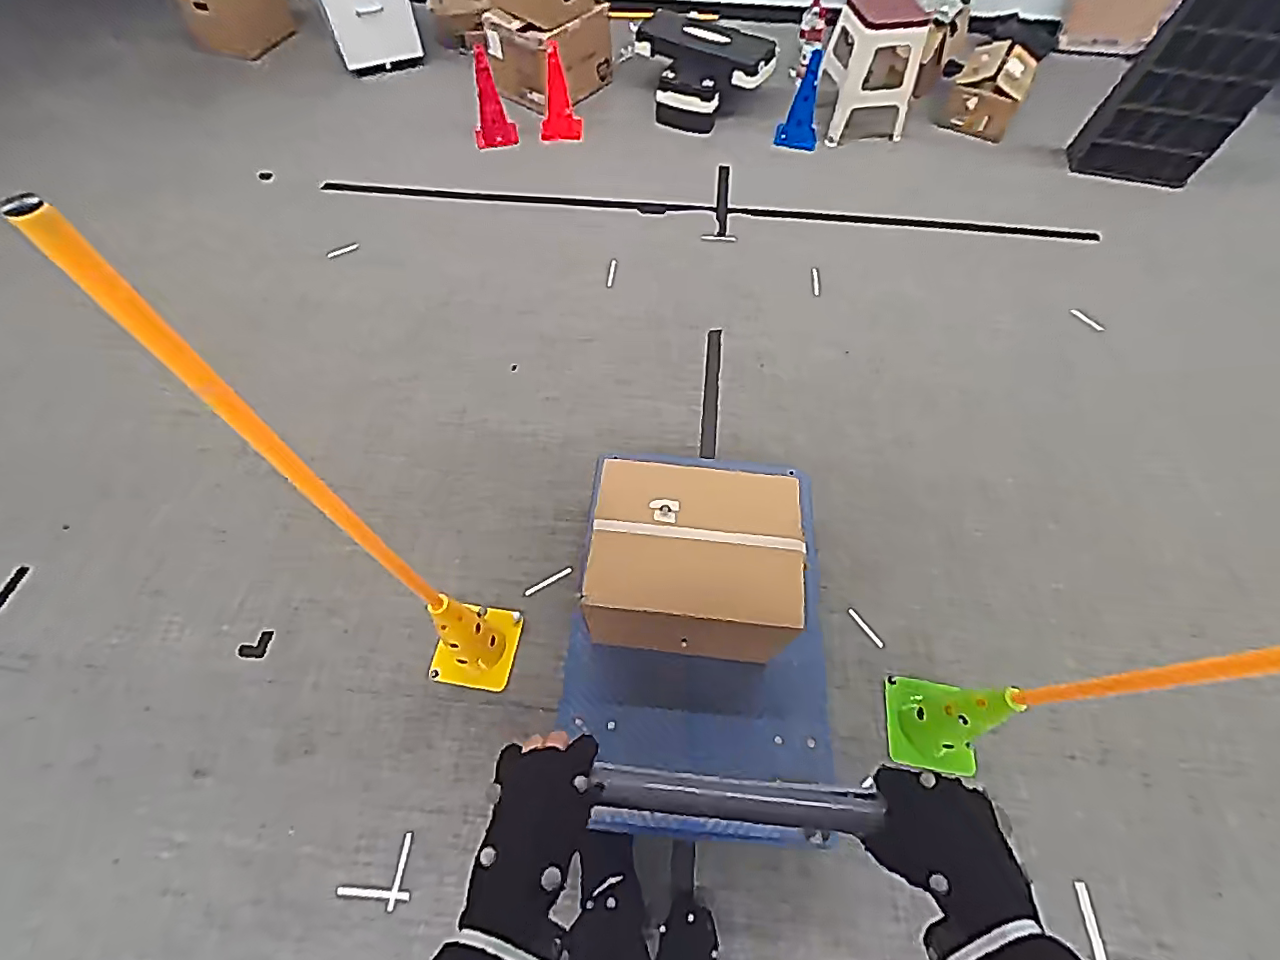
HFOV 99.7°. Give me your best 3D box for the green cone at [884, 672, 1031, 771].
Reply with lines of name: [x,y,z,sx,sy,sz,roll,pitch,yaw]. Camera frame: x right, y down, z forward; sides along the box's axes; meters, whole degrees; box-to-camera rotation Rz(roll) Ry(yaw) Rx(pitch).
green cone: [0.707,0.501,1.173,0.202,0.368,0.200,9,60,3]

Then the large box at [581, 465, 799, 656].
large box: [0.107,0.188,1.184,0.408,0.320,0.320,5,61,4]
